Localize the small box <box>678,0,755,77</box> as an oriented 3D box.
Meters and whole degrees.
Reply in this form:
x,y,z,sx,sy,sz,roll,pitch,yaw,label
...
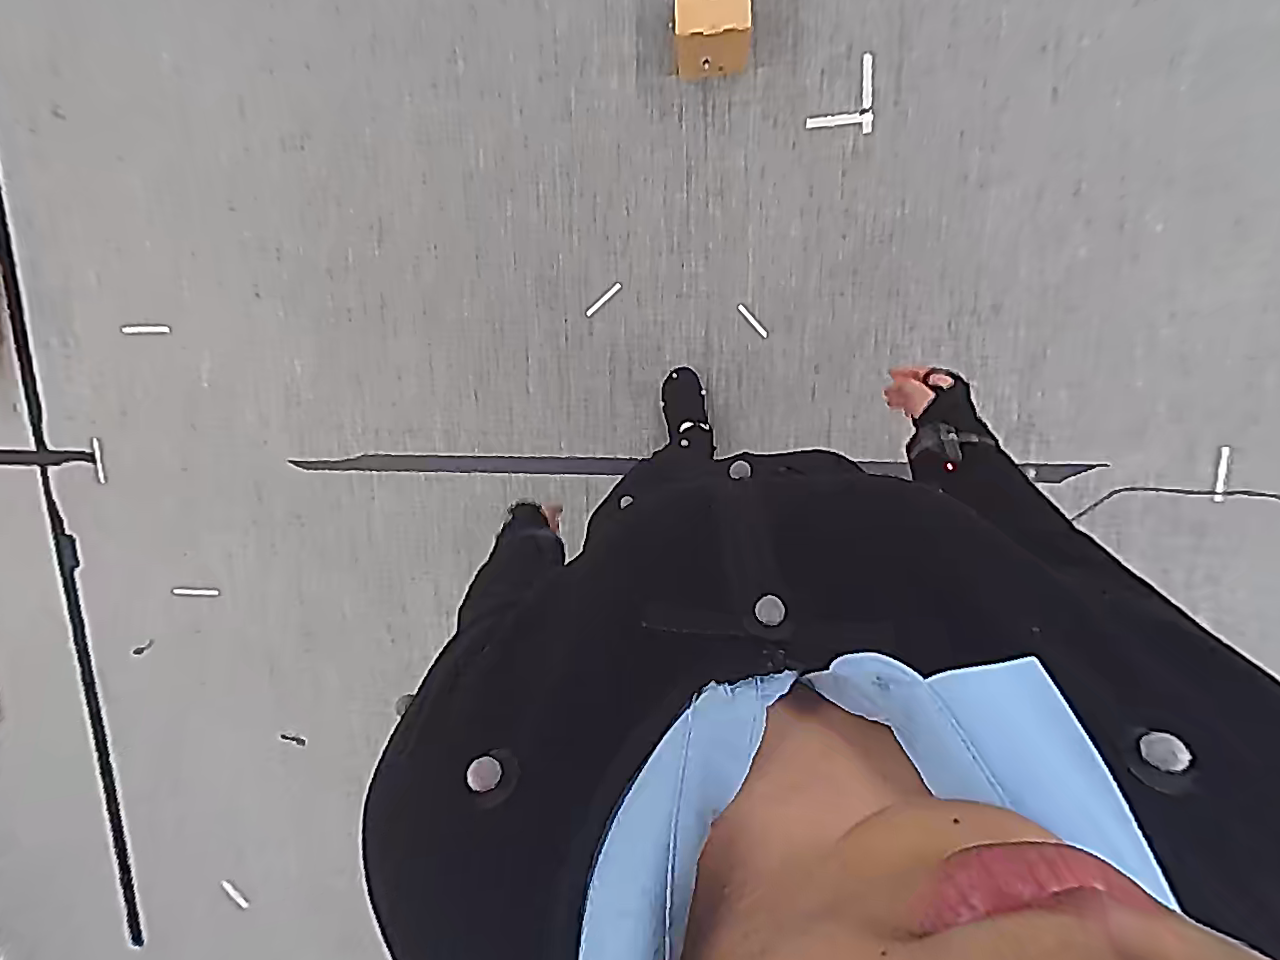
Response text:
x,y,z,sx,sy,sz,roll,pitch,yaw,label
0.171,-1.070,1.238,0.168,0.176,0.179,-2,99,6,small box
